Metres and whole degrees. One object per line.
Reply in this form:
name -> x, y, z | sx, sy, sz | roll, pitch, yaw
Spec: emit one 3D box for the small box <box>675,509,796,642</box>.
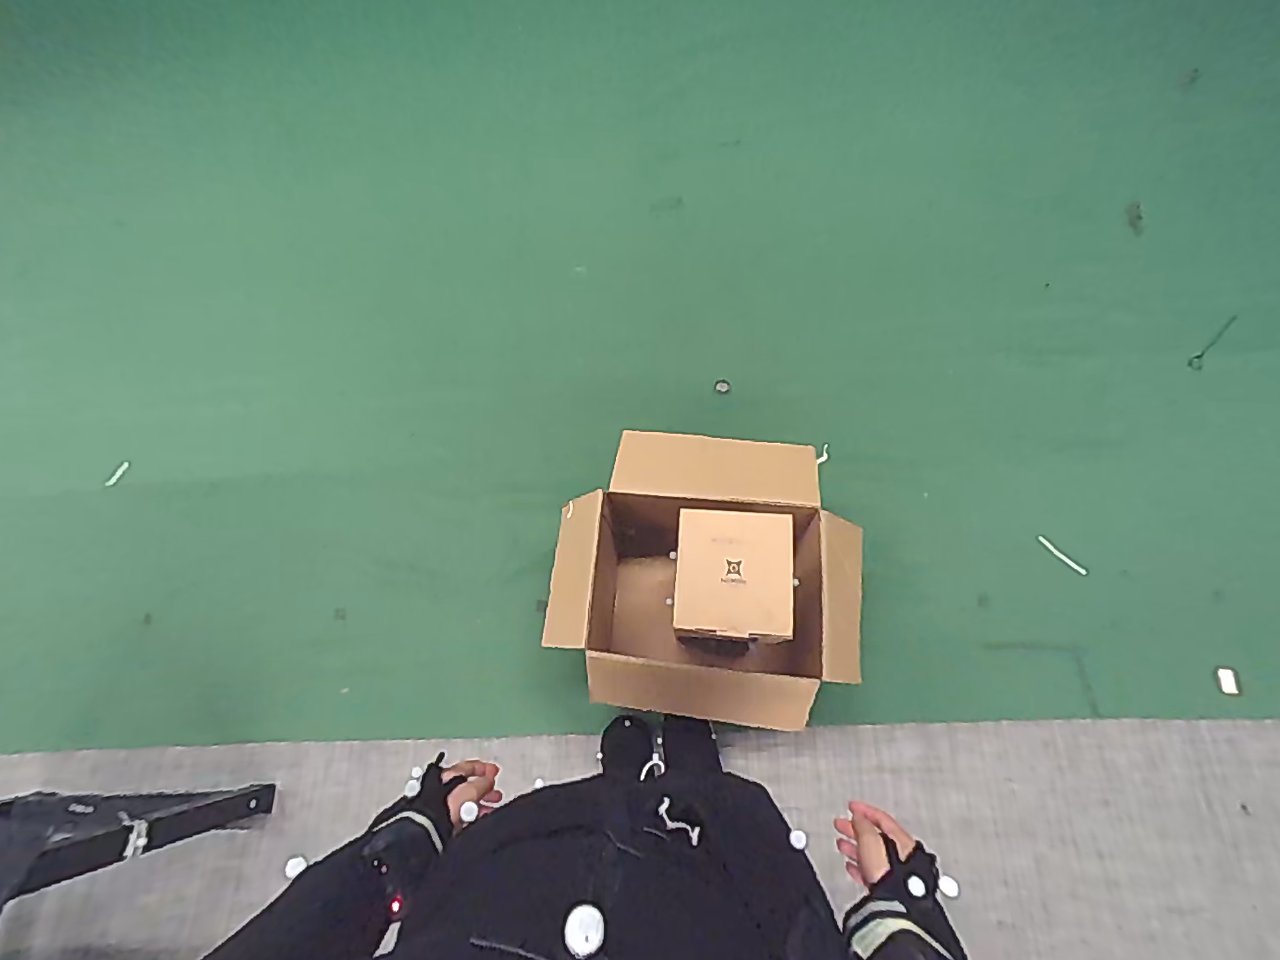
small box -> 0.144, 0.153, 0.835 | 0.168, 0.176, 0.179 | 2, 70, 6
